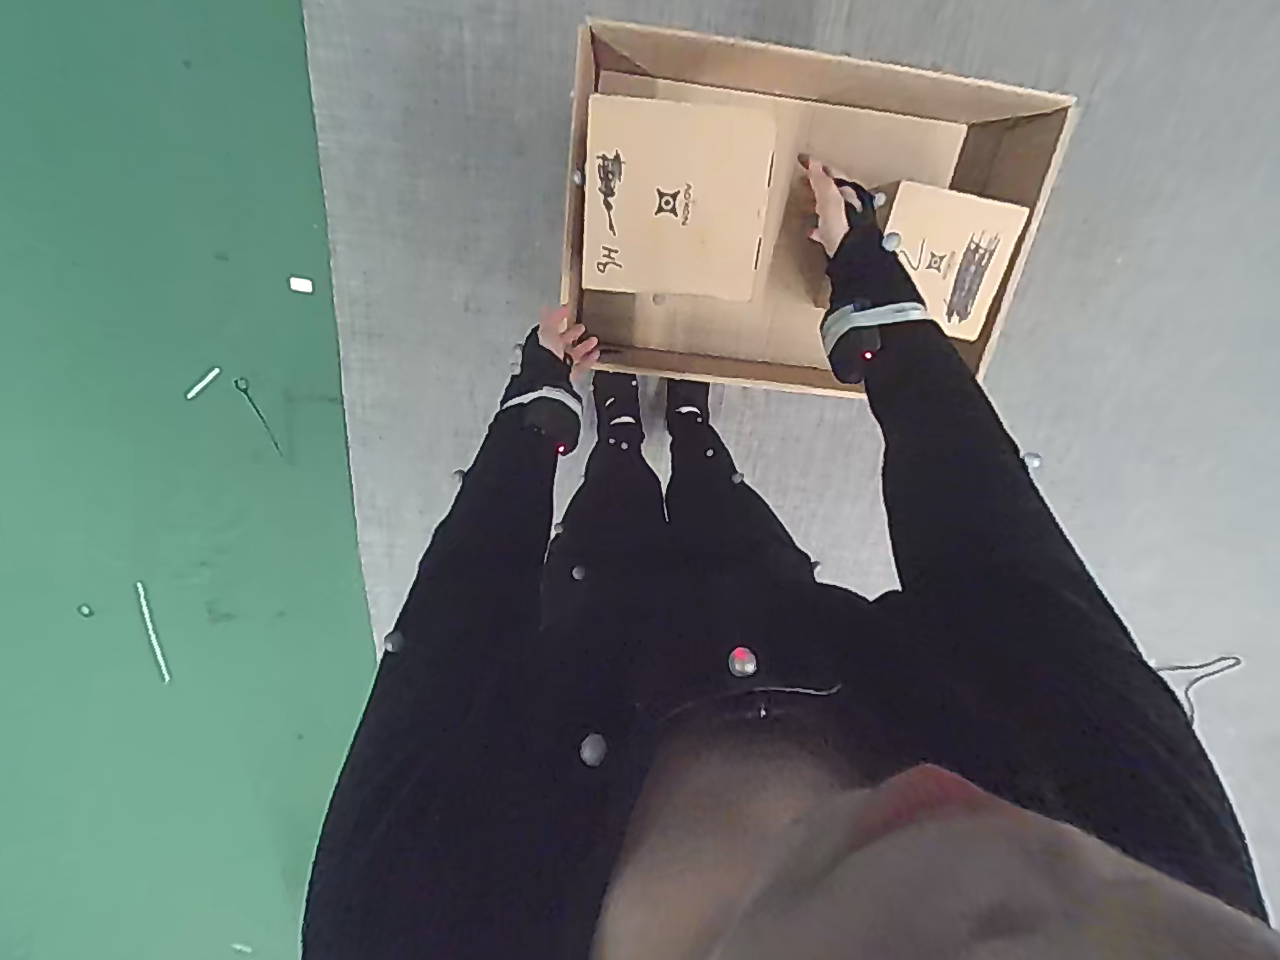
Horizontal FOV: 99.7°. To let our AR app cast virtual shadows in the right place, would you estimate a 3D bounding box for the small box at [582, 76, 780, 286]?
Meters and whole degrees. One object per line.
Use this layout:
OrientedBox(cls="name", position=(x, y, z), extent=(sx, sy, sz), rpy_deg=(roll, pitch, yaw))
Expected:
OrientedBox(cls="small box", position=(0.033, -0.309, 0.589), extent=(0.179, 0.176, 0.168), rpy_deg=(4, 112, -2))
